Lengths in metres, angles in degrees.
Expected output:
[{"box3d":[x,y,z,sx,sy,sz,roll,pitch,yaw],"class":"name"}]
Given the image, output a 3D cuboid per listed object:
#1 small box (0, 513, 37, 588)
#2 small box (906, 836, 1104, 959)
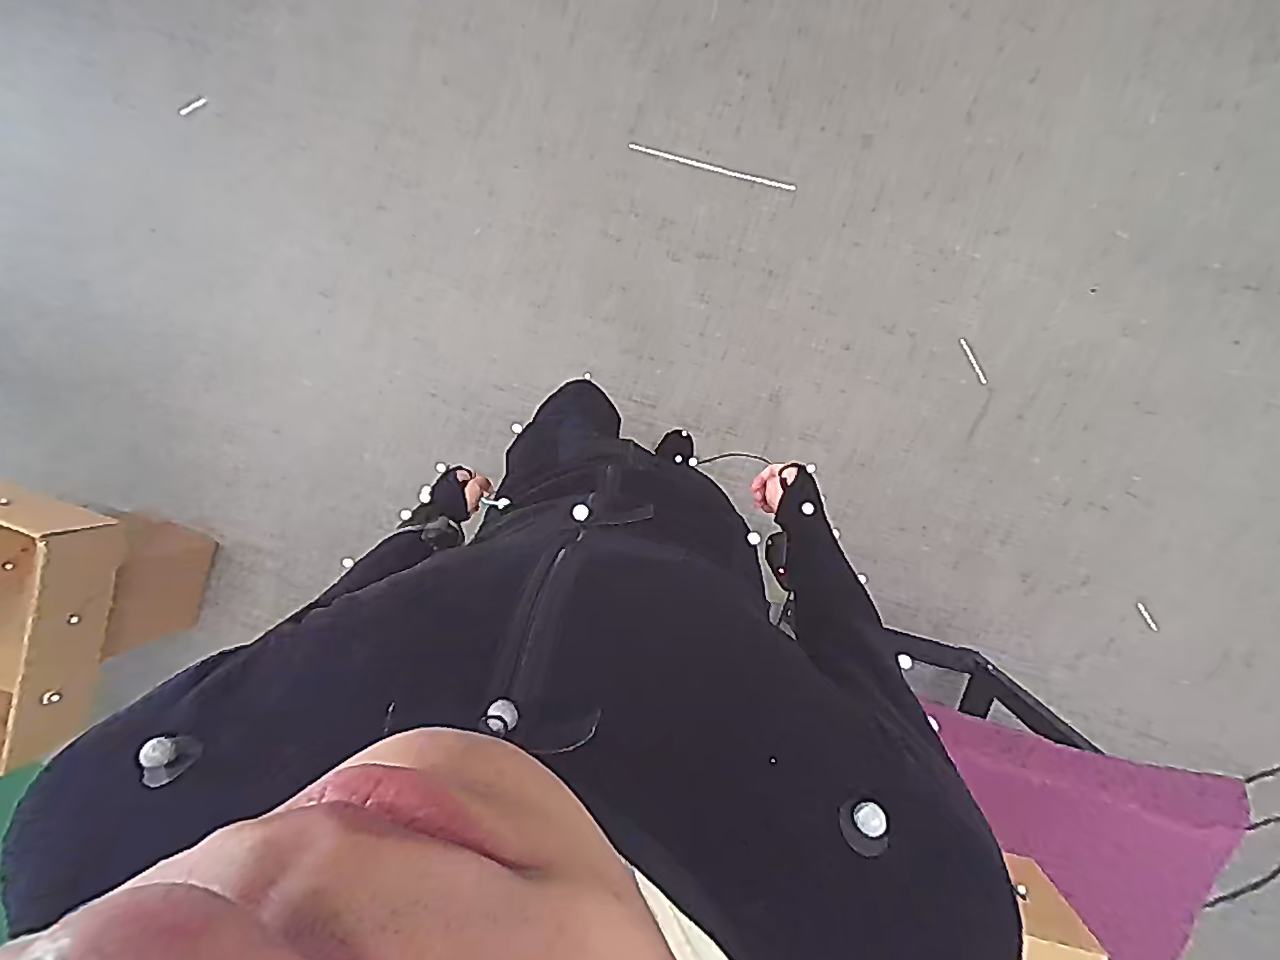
[{"box3d":[-1.608,0.170,1.271,0.179,0.176,0.168,19,96,2],"class":"small box"},{"box3d":[0.543,0.695,0.835,0.179,0.176,0.168,13,97,2],"class":"small box"}]
